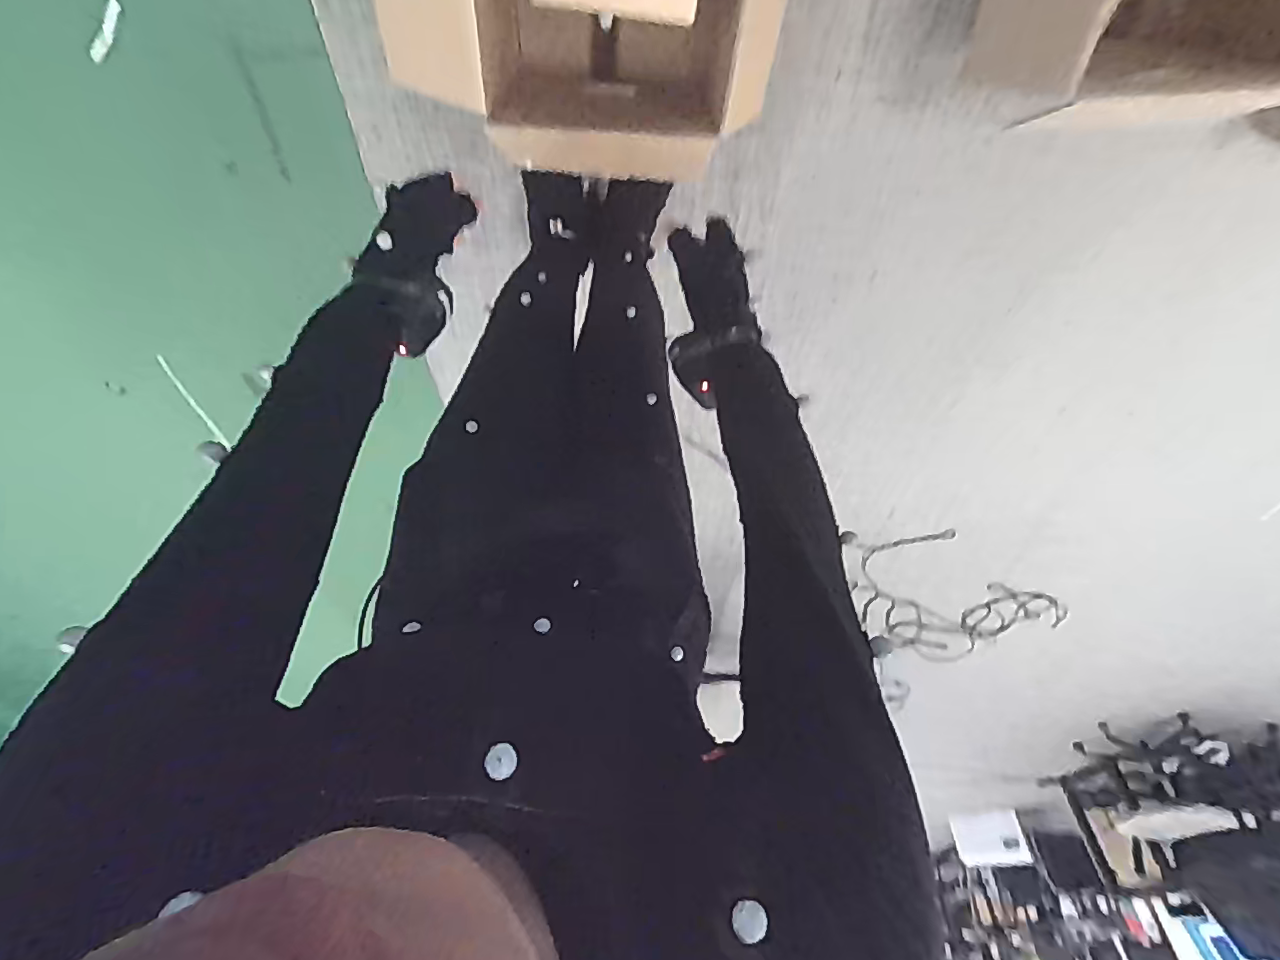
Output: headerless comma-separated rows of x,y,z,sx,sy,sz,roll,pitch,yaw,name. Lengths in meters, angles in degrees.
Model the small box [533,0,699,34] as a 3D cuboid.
-0.020,-0.607,0.578,0.179,0.176,0.168,3,136,-5,small box
